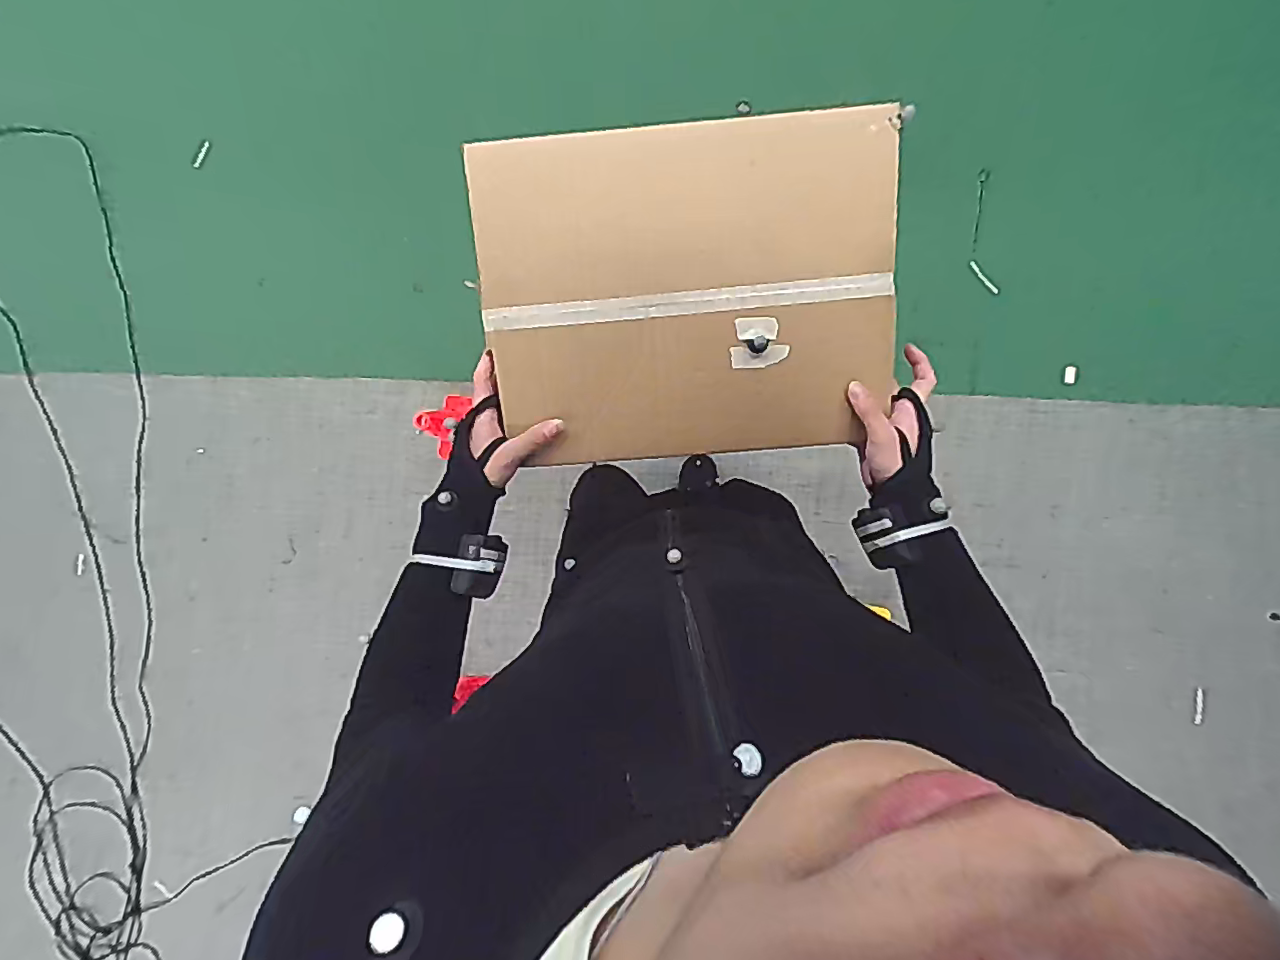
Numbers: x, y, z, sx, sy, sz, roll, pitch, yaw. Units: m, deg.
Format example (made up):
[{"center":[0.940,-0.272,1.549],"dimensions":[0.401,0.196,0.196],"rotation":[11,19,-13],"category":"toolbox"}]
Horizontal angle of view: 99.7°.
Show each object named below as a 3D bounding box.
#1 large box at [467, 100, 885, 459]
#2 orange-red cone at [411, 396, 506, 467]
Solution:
[{"center":[0.044,-0.224,0.689],"dimensions":[0.408,0.320,0.320],"rotation":[-5,105,1],"category":"large box"},{"center":[-0.527,-0.147,1.473],"dimensions":[0.199,0.360,0.198],"rotation":[10,91,4],"category":"orange-red cone"}]
